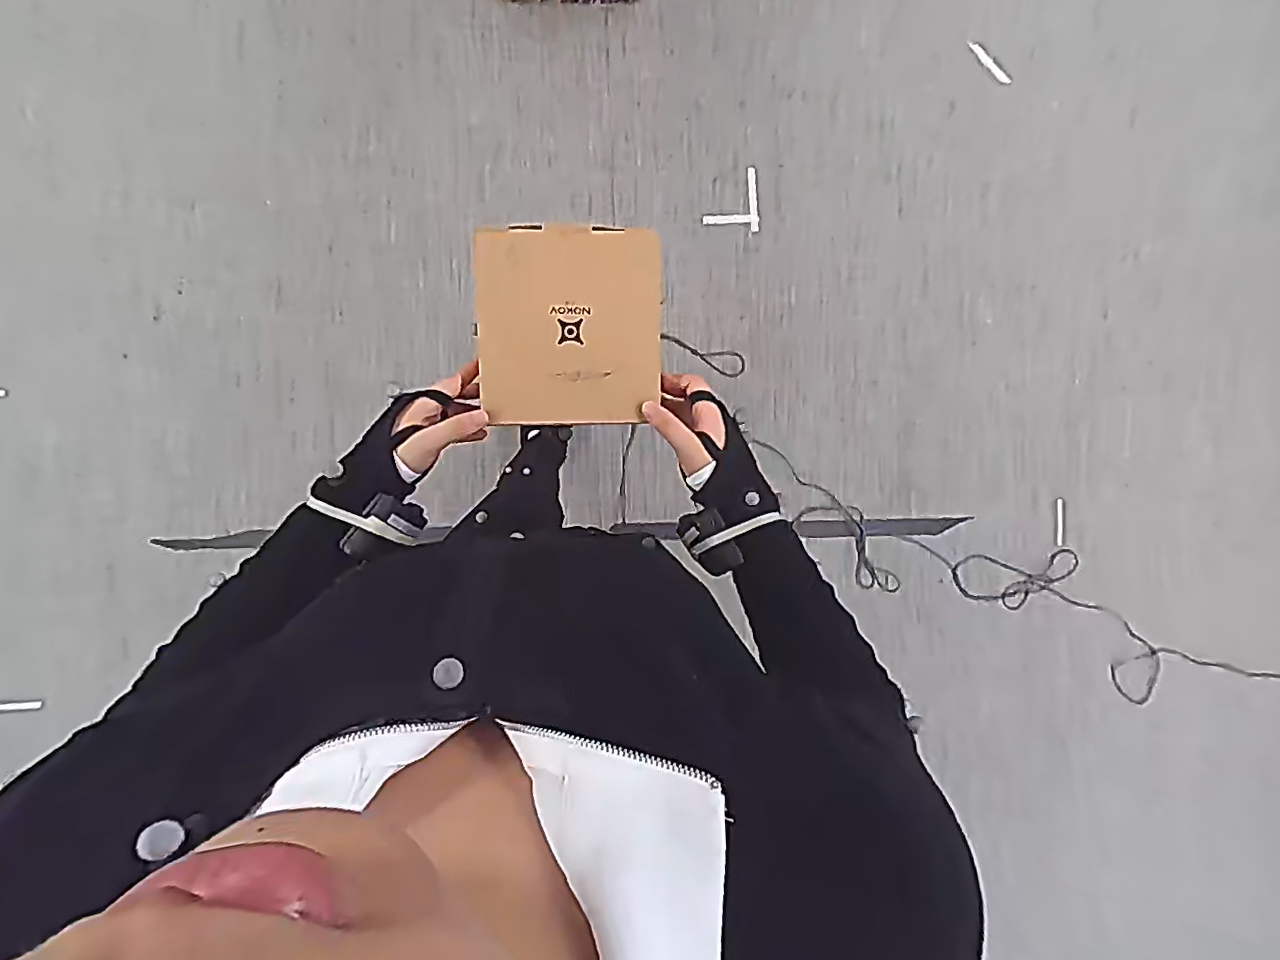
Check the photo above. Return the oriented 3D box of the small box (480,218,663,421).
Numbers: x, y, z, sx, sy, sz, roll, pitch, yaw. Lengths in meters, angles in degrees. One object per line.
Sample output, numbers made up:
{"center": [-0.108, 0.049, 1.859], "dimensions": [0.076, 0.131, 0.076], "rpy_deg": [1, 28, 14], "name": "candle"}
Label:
{"center": [-0.068, -0.152, 0.567], "dimensions": [0.168, 0.176, 0.179], "rpy_deg": [-1, 96, -5], "name": "small box"}
